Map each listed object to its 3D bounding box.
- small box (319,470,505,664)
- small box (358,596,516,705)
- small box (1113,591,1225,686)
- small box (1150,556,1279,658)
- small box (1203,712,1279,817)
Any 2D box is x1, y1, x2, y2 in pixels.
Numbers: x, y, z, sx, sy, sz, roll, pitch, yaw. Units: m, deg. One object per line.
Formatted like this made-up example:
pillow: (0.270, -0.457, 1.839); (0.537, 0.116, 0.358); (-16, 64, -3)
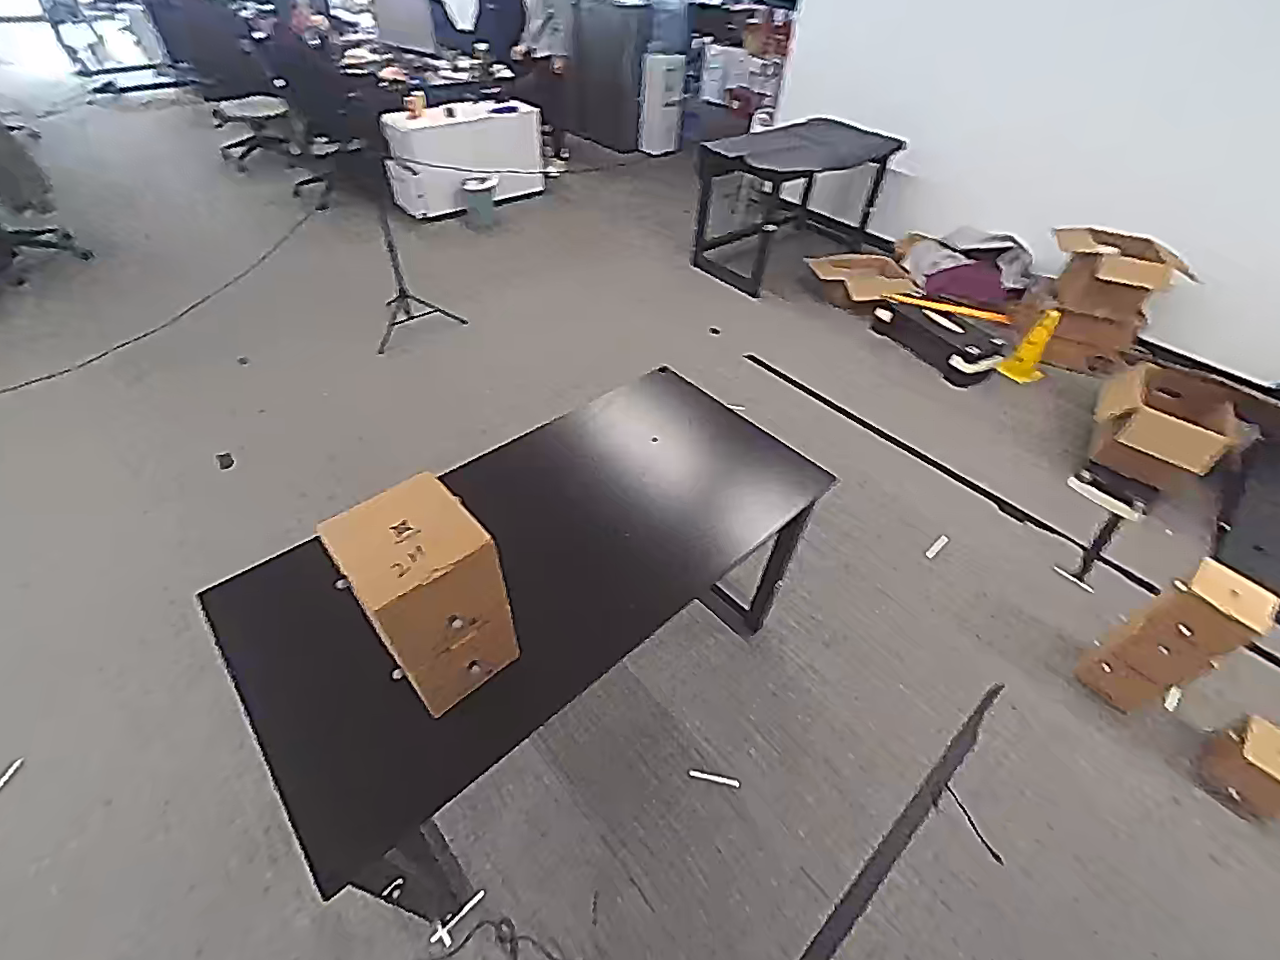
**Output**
small box: (-0.314, 0.124, 0.770); (0.168, 0.176, 0.179); (-33, 57, -30)
small box: (-0.322, 0.239, 0.887); (0.168, 0.176, 0.179); (-33, 57, -31)
small box: (1.553, 0.467, 1.586); (0.168, 0.176, 0.179); (-31, 57, -30)
small box: (1.560, 0.346, 1.477); (0.179, 0.176, 0.168); (-30, 56, -28)
small box: (1.749, 0.798, 1.516); (0.179, 0.176, 0.168); (-34, 56, -30)
